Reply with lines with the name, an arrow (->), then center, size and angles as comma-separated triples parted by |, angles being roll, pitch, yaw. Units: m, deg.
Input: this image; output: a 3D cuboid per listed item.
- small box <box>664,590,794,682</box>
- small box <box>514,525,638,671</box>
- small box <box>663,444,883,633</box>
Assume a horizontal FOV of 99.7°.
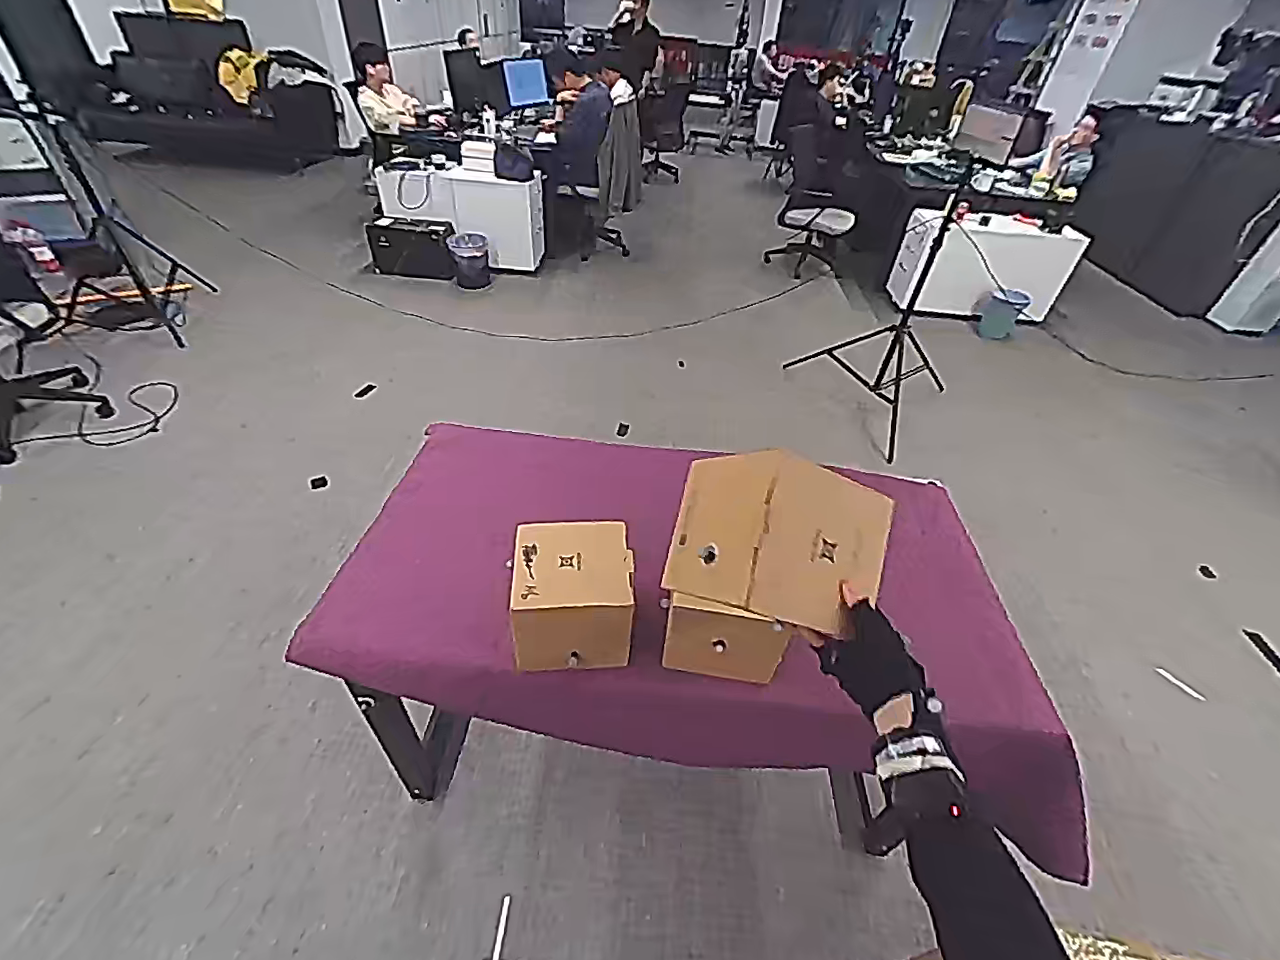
small box -> 0.140, 0.204, 0.877 | 0.179, 0.176, 0.168 | 8, 40, 5
small box -> -0.104, 0.190, 0.870 | 0.179, 0.176, 0.168 | 0, 40, -8
small box -> 0.150, 0.071, 0.641 | 0.179, 0.176, 0.168 | 19, 78, -24
